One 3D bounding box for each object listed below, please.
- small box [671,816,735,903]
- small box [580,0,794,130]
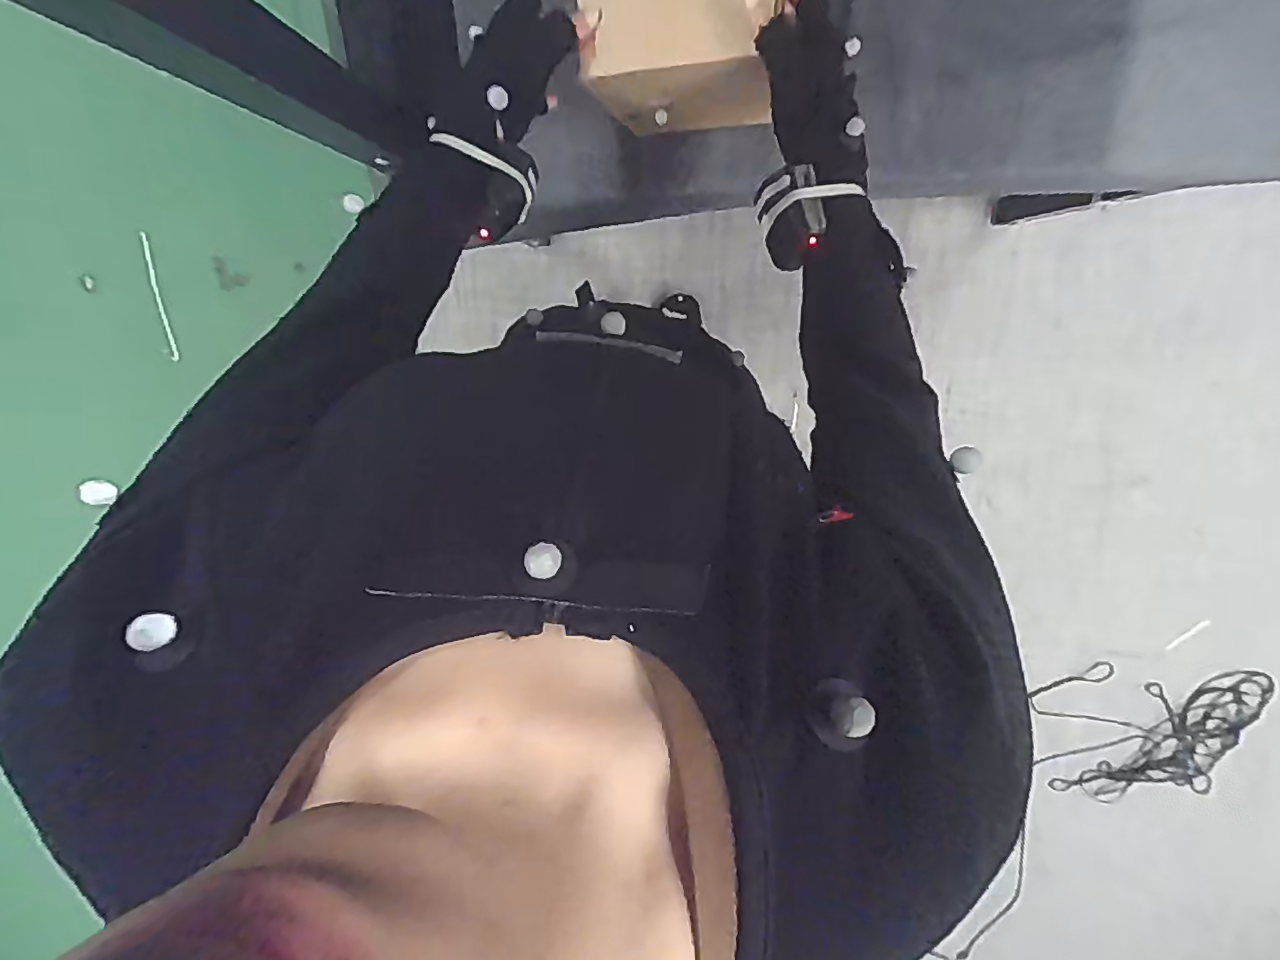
[{"bbox_3d":[0.208,1.280,1.834,0.179,0.176,0.168,13,107,-1],"label":"small box"},{"bbox_3d":[0.050,-0.448,0.495,0.176,0.168,0.179,6,108,16],"label":"small box"}]
